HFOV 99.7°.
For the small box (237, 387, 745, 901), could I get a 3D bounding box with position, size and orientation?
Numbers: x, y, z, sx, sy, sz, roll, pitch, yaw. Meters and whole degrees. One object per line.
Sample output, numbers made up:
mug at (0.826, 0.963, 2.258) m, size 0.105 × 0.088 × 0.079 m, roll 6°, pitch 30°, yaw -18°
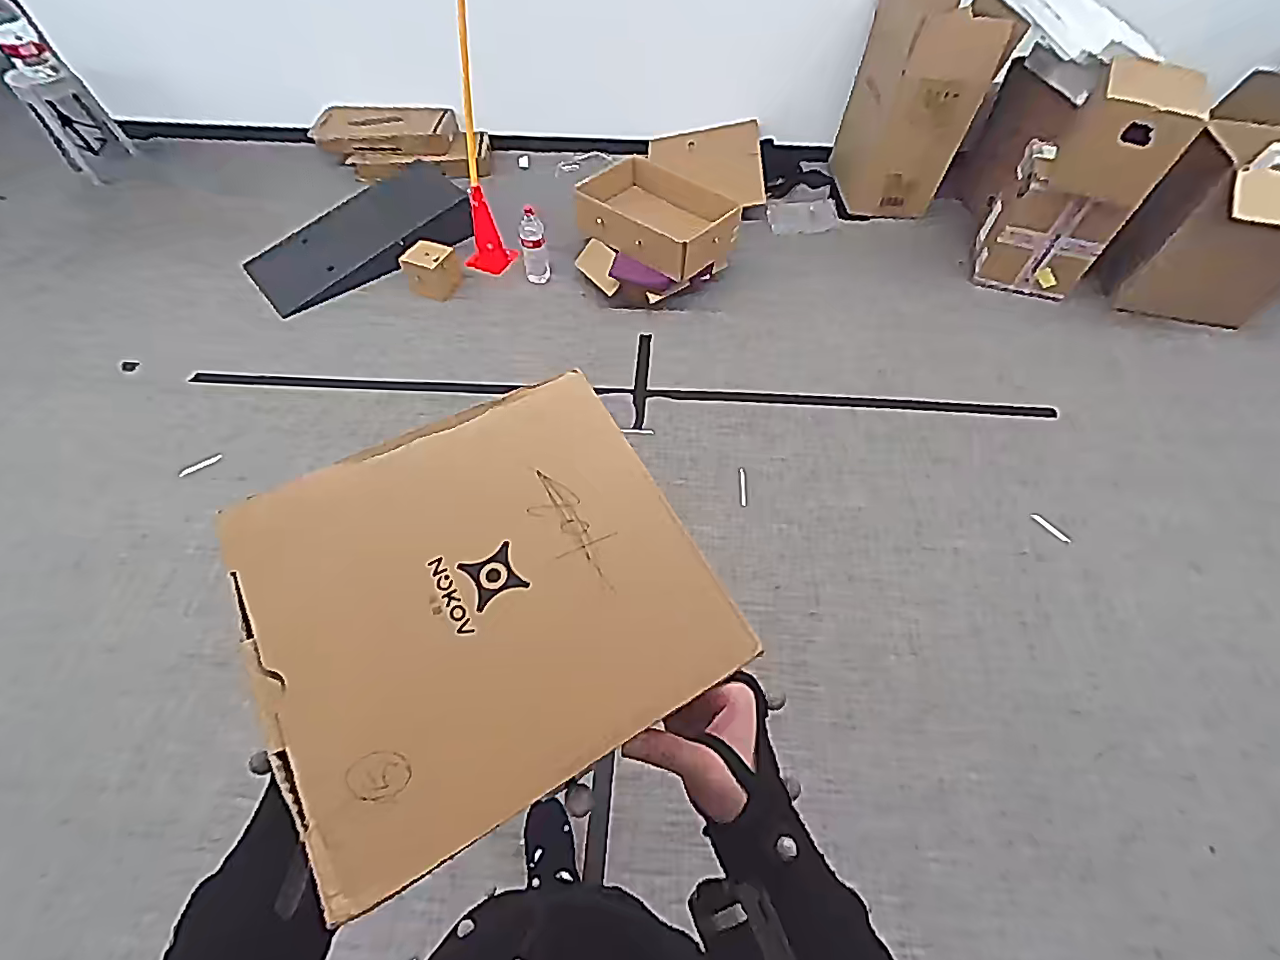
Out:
small box at (-0.073, 0.085, 0.307) m, size 0.179 × 0.176 × 0.168 m, roll -26°, pitch 68°, yaw -19°
